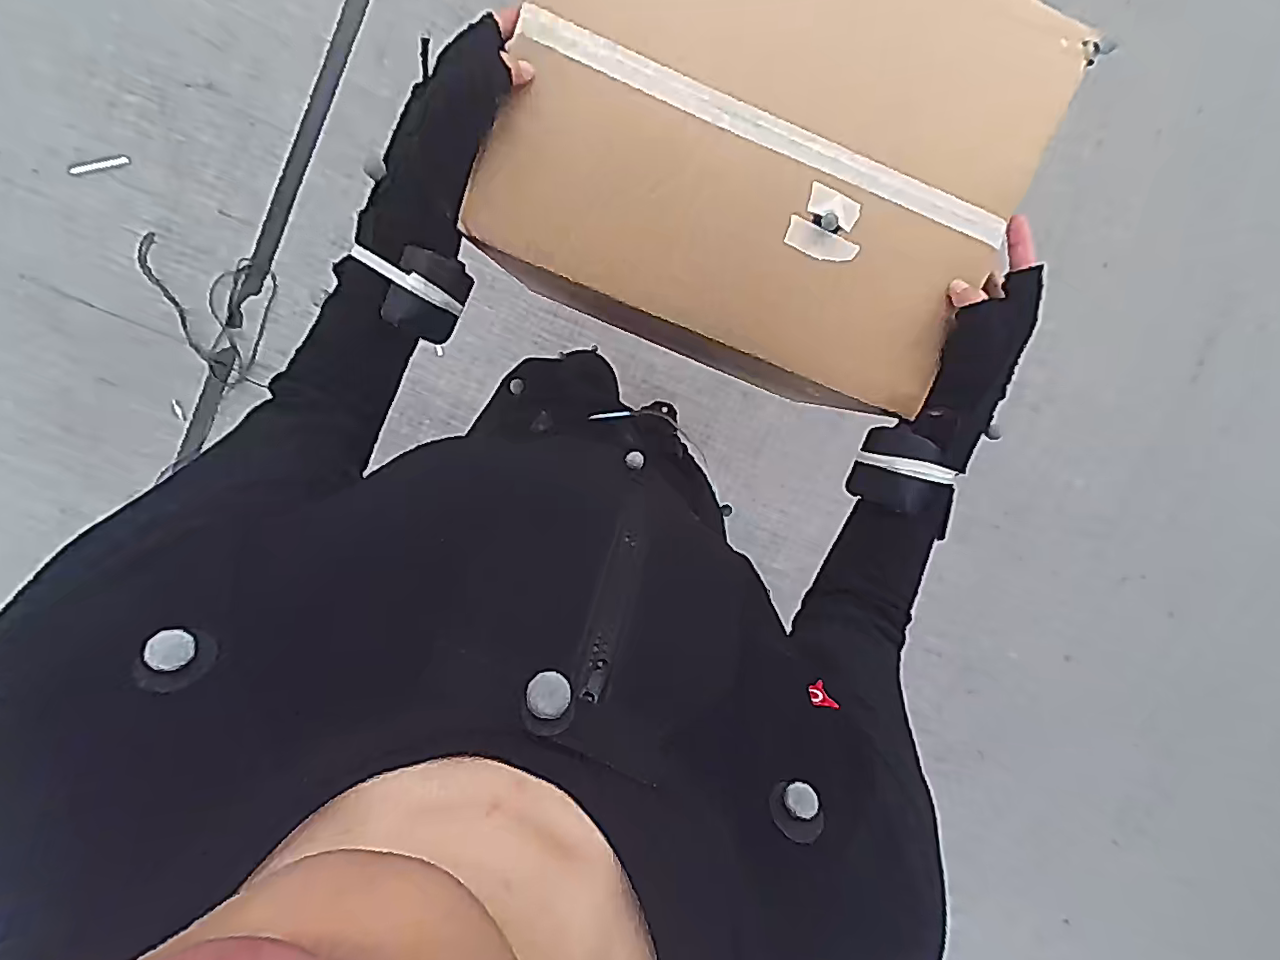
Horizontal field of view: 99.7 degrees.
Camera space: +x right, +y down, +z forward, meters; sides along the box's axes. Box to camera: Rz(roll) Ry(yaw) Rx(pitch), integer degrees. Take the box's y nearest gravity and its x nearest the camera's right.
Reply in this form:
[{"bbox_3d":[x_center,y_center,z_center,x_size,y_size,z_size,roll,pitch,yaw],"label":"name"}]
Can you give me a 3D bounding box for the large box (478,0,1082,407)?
[{"bbox_3d":[0.100,-0.298,0.571,0.408,0.320,0.320,21,101,-6],"label":"large box"}]
